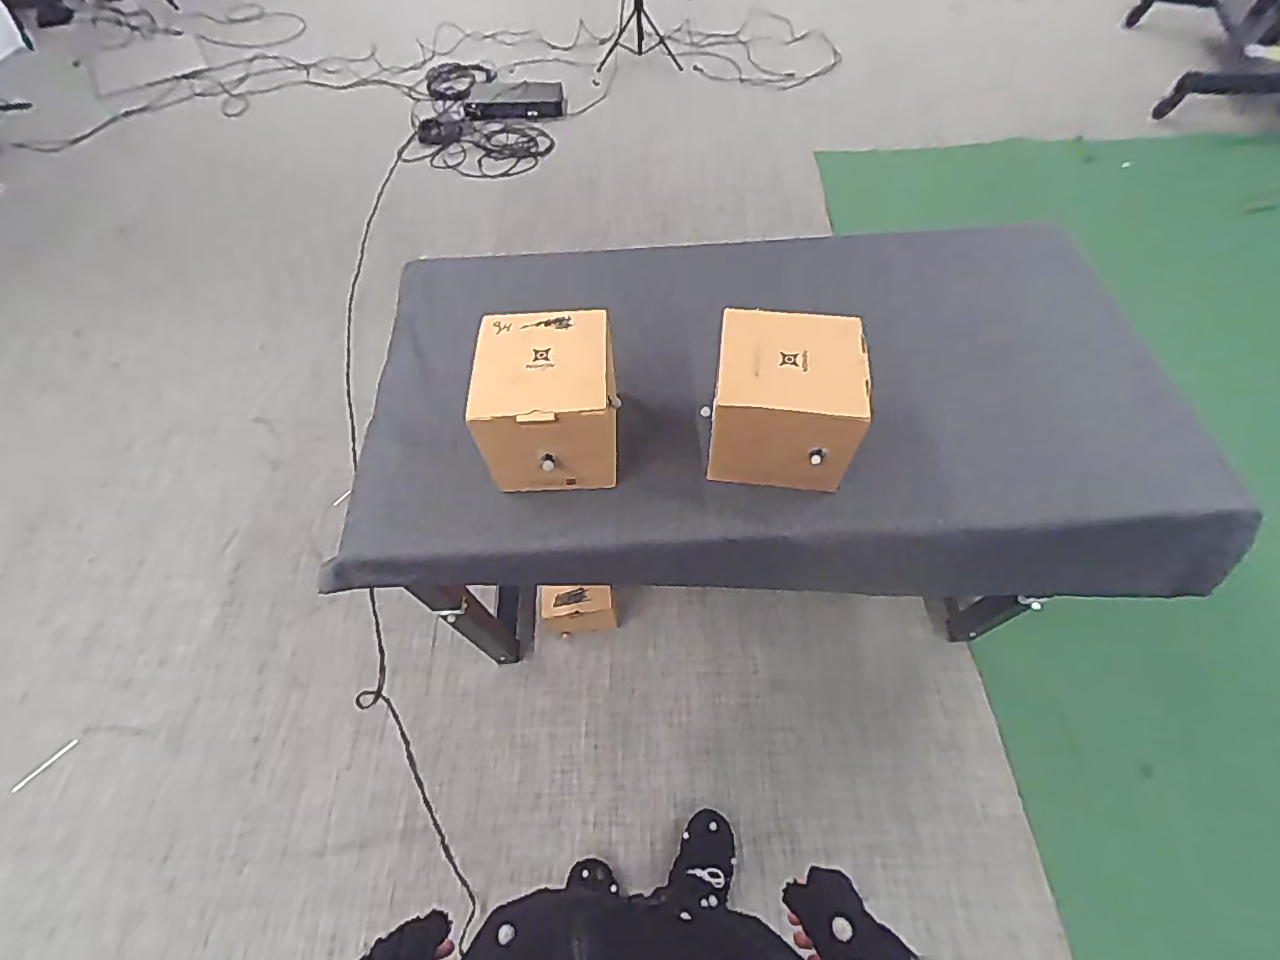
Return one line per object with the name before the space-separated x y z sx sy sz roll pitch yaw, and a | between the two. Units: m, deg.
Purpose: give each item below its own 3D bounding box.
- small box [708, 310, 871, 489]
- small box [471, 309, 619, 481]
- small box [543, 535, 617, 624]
small box | 0.191 -0.101 0.726 0.179 0.176 0.168 6 59 7
small box | -0.115 -0.107 0.737 0.168 0.176 0.179 -1 59 1
small box | -0.148 0.258 1.371 0.168 0.176 0.179 -5 60 -2
